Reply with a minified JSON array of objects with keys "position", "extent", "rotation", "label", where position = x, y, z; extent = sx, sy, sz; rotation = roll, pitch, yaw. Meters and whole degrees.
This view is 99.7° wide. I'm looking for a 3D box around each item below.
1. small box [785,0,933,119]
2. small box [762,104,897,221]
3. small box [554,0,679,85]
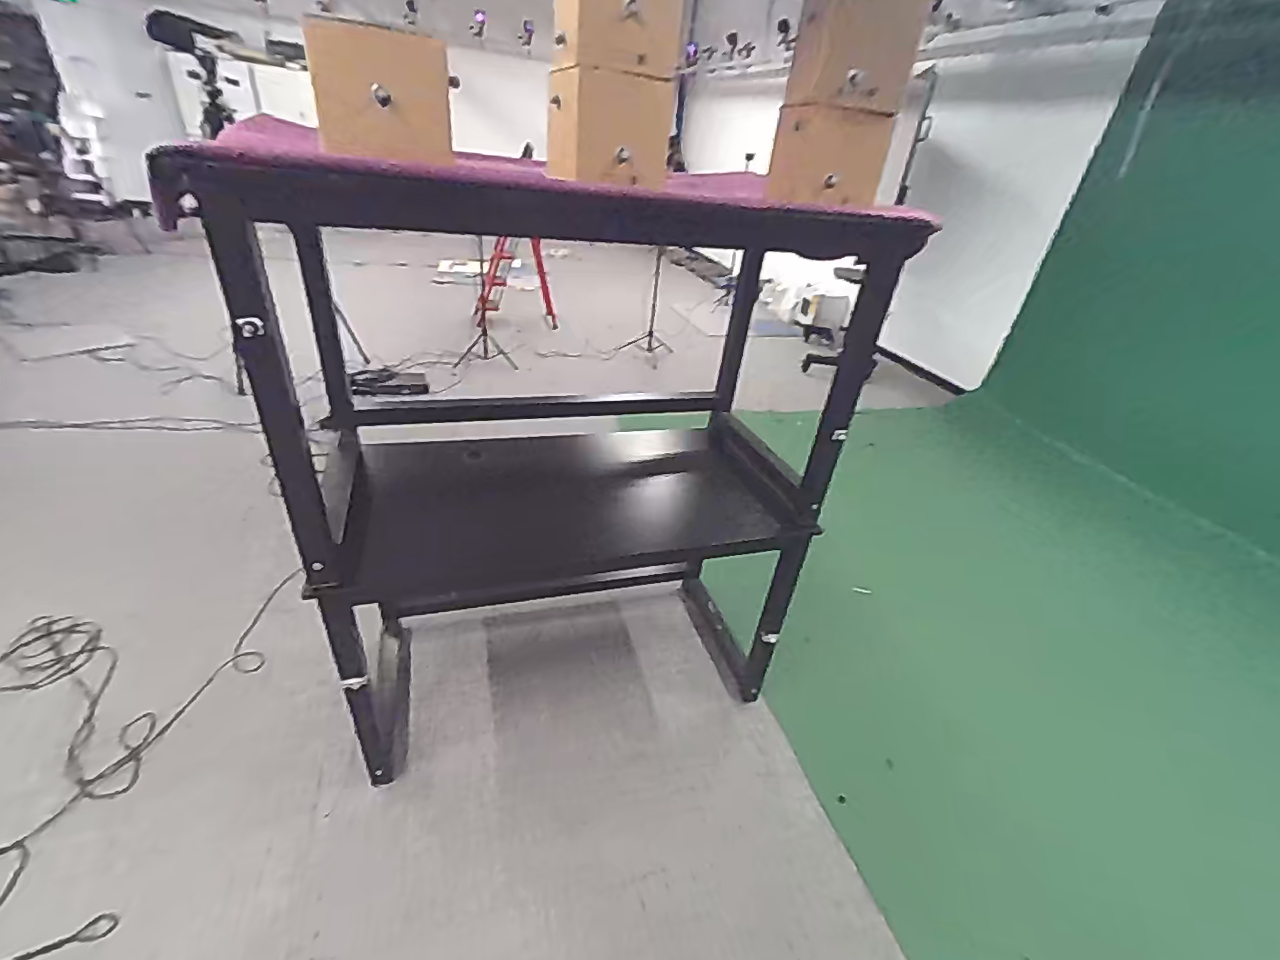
[{"position":[0.368,-0.741,0.946],"extent":[0.168,0.176,0.179],"rotation":[2,35,-5],"label":"small box"},{"position":[0.350,-0.610,1.040],"extent":[0.168,0.176,0.179],"rotation":[1,34,-9],"label":"small box"},{"position":[-0.041,-0.748,0.869],"extent":[0.168,0.176,0.179],"rotation":[-6,34,-20],"label":"small box"}]
